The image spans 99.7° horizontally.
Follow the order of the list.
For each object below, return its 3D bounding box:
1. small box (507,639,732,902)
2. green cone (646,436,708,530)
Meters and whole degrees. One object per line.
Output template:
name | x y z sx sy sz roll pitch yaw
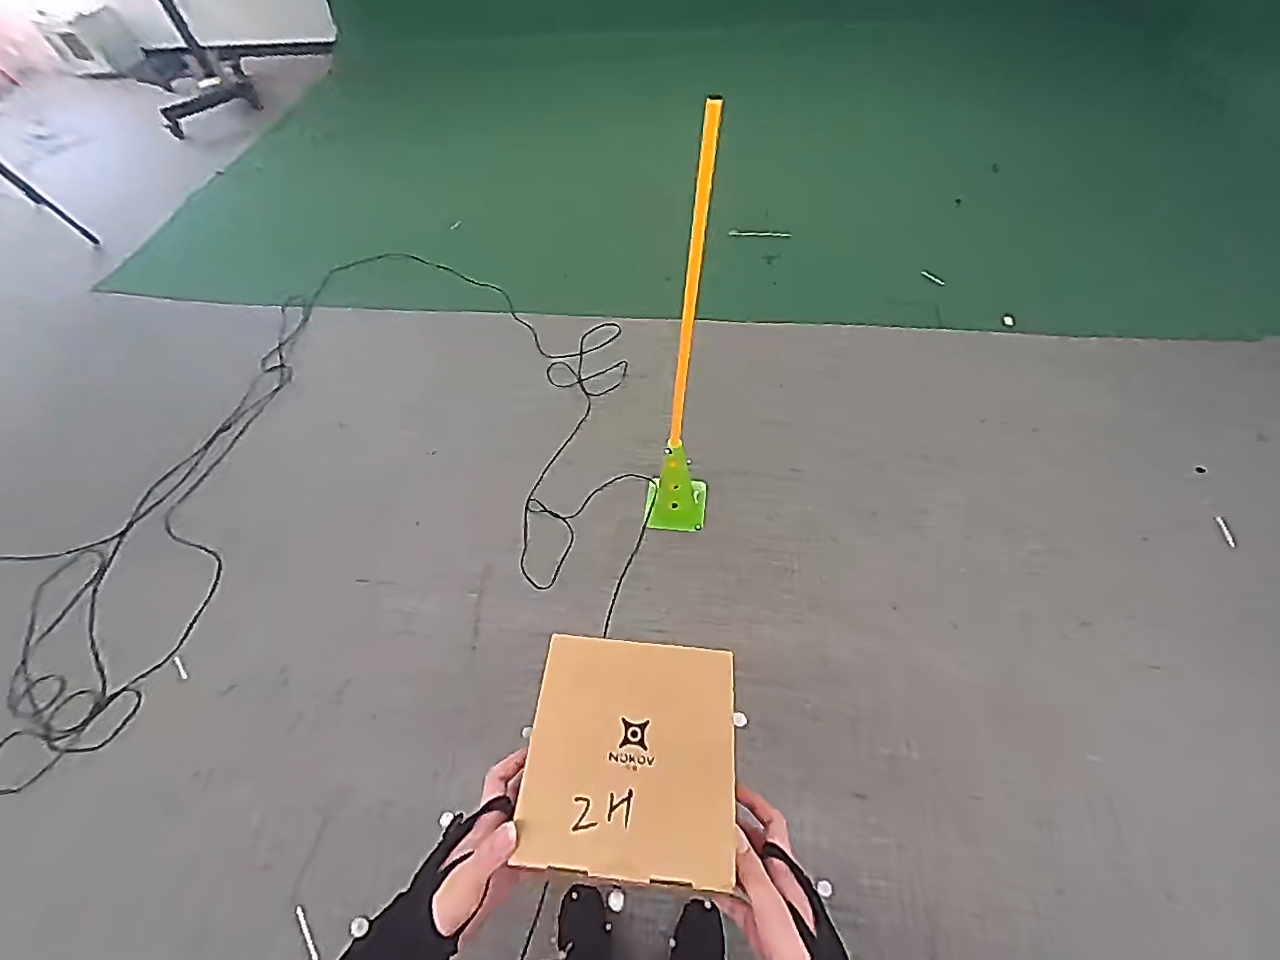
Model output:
small box | -0.010 0.272 0.504 0.168 0.176 0.179 6 52 3
green cone | 0.114 -0.017 1.710 0.202 0.368 0.200 4 56 8
